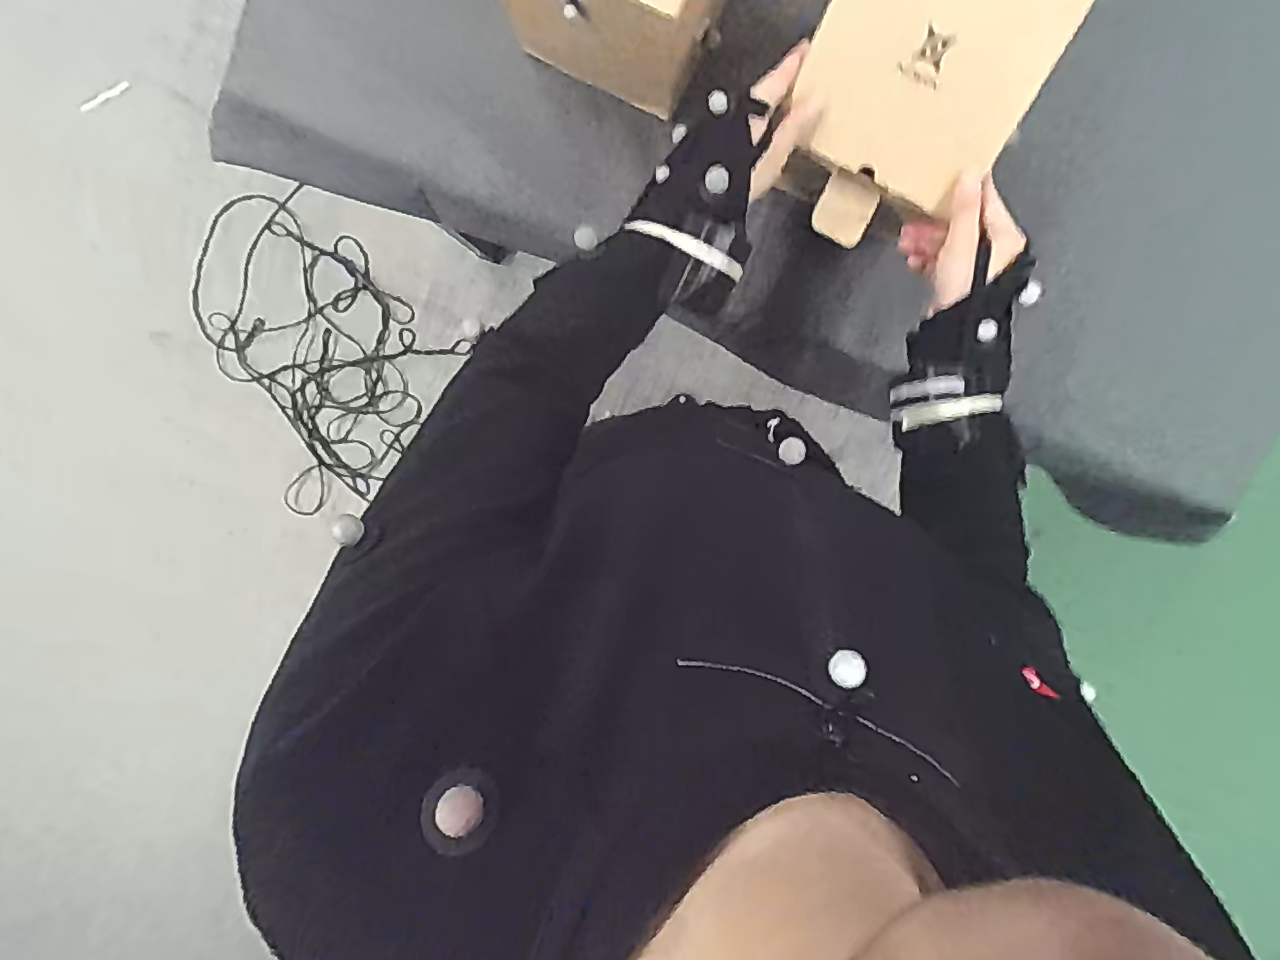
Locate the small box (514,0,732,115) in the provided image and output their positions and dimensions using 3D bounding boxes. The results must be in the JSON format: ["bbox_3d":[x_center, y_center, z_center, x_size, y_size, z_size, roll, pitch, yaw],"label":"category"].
[{"bbox_3d":[-0.011,-0.471,0.478,0.179,0.176,0.168,26,99,-2],"label":"small box"}]

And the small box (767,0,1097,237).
[{"bbox_3d":[0.222,-0.333,0.468,0.168,0.176,0.179,25,113,-1],"label":"small box"}]
